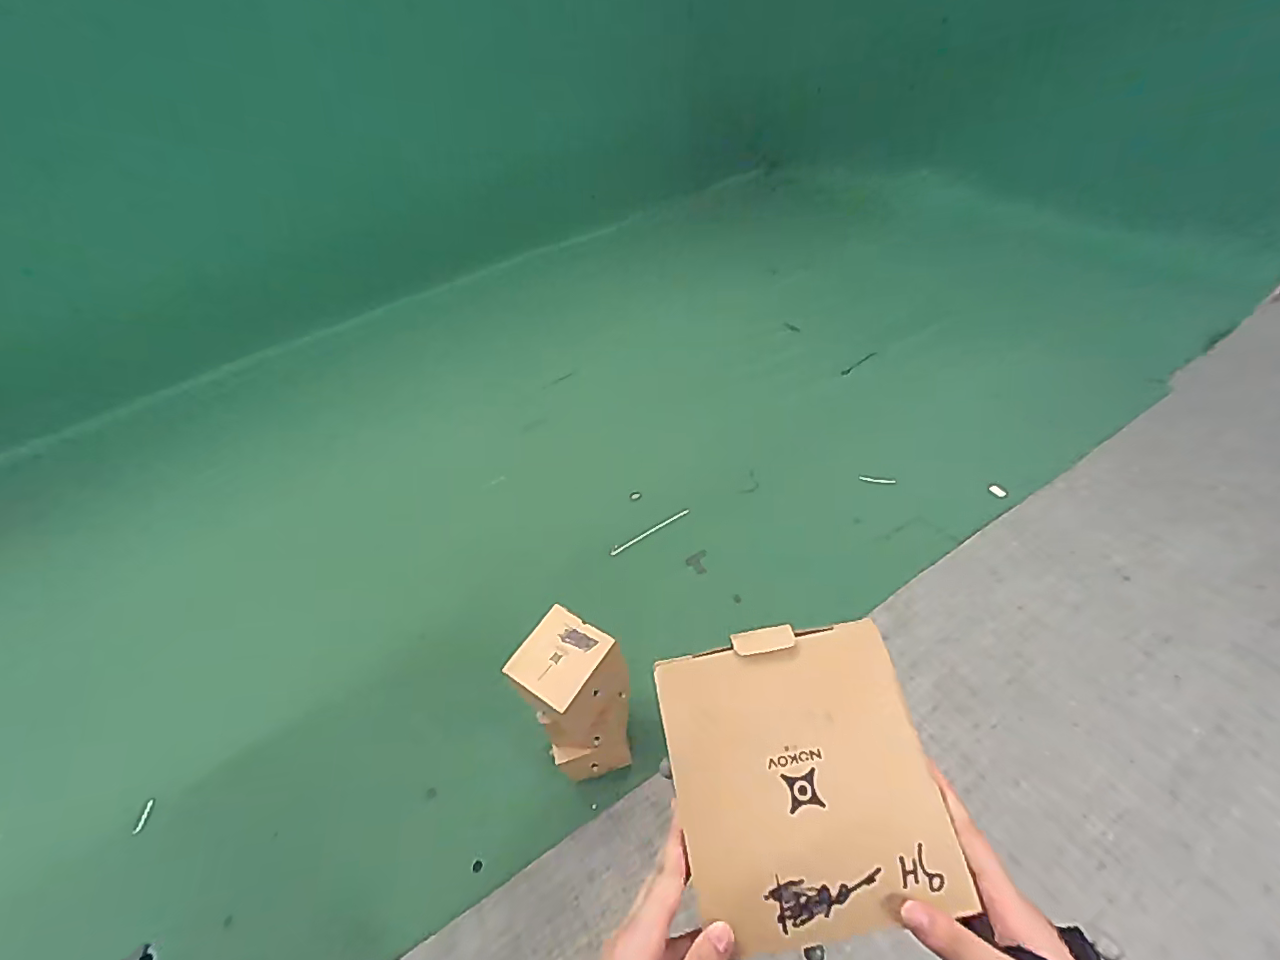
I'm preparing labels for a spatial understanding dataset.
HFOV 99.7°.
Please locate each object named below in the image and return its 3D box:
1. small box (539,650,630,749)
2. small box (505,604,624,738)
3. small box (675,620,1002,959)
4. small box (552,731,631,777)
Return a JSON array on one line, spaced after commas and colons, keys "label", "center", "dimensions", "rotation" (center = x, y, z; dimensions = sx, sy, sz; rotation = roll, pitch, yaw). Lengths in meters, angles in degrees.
[{"label": "small box", "center": [-0.120, 0.510, 1.260], "dimensions": [0.168, 0.176, 0.179], "rotation": [0, 46, 8]}, {"label": "small box", "center": [-0.148, 0.402, 1.139], "dimensions": [0.168, 0.176, 0.179], "rotation": [24, 56, 27]}, {"label": "small box", "center": [0.123, 0.224, 0.421], "dimensions": [0.168, 0.176, 0.179], "rotation": [-12, 65, 1]}, {"label": "small box", "center": [-0.128, 0.631, 1.372], "dimensions": [0.168, 0.176, 0.179], "rotation": [-16, 46, -6]}]
